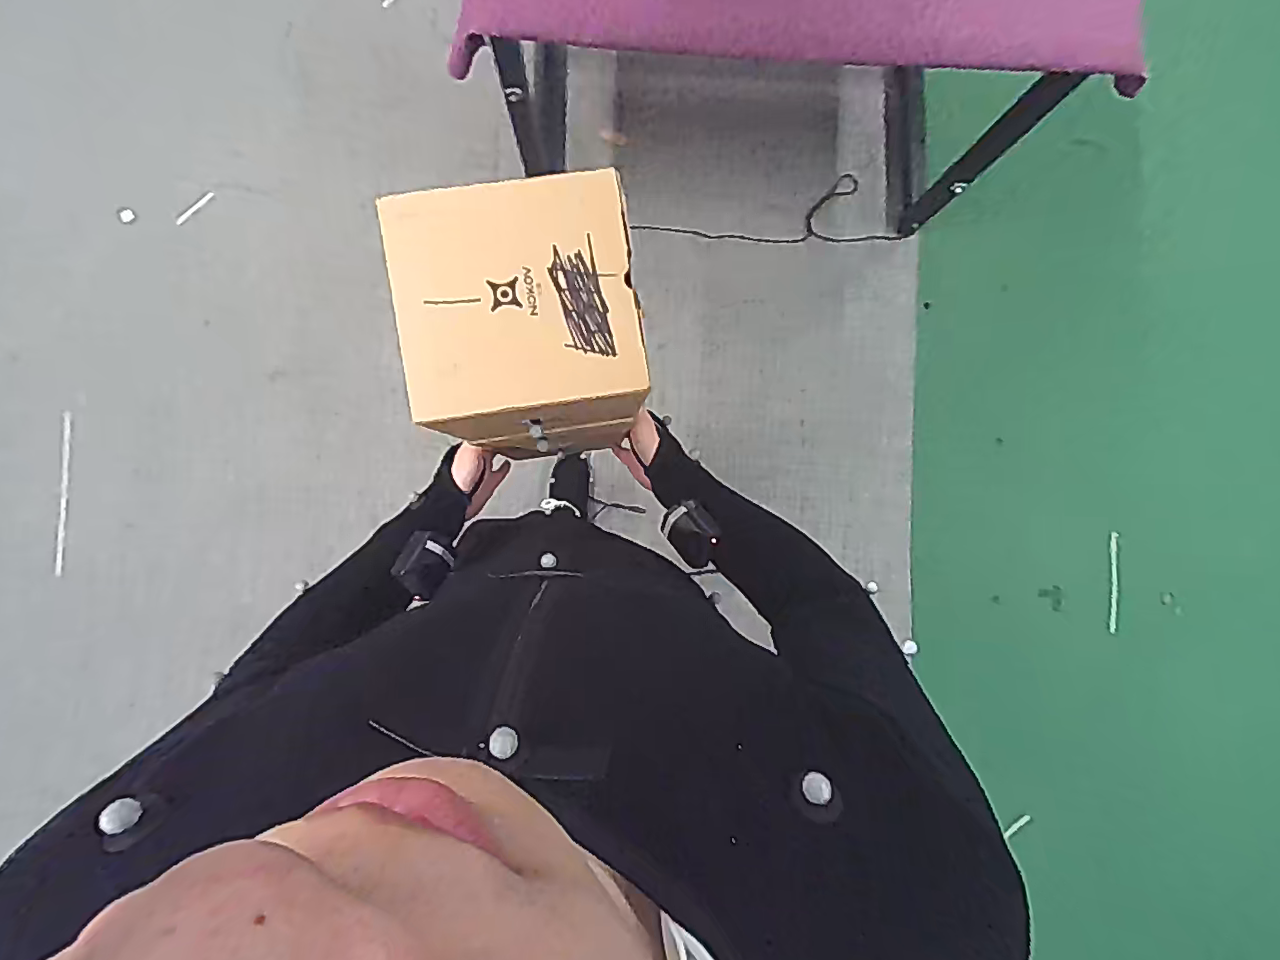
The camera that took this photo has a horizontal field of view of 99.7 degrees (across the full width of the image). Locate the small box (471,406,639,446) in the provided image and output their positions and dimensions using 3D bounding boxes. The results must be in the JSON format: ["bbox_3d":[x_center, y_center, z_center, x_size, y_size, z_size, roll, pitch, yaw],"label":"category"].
[{"bbox_3d":[-0.101,-0.134,0.633,0.179,0.176,0.168,-8,91,-5],"label":"small box"}]

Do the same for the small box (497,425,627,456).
[{"bbox_3d":[-0.116,-0.129,0.795,0.179,0.176,0.168,-7,89,-5],"label":"small box"}]

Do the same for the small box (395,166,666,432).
[{"bbox_3d":[-0.085,-0.139,0.469,0.179,0.176,0.168,-9,90,-5],"label":"small box"}]
